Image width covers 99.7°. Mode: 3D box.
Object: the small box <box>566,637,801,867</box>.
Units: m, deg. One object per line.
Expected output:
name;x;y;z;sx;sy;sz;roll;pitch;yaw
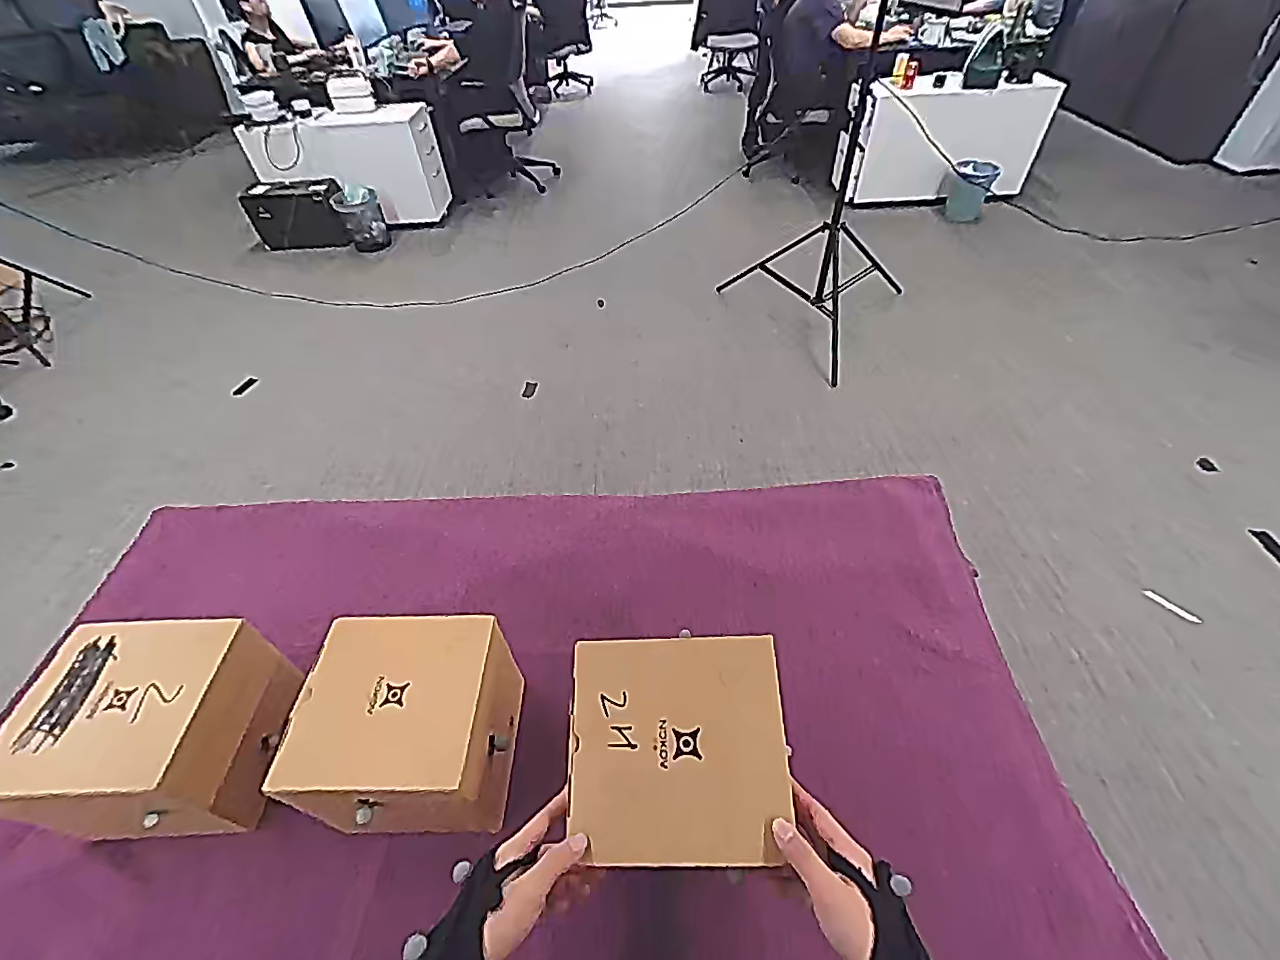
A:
small box;0.038;0.246;0.503;0.179;0.176;0.168;-4;61;5

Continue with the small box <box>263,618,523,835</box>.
small box;-0.232;0.260;0.570;0.179;0.176;0.168;-2;47;3
